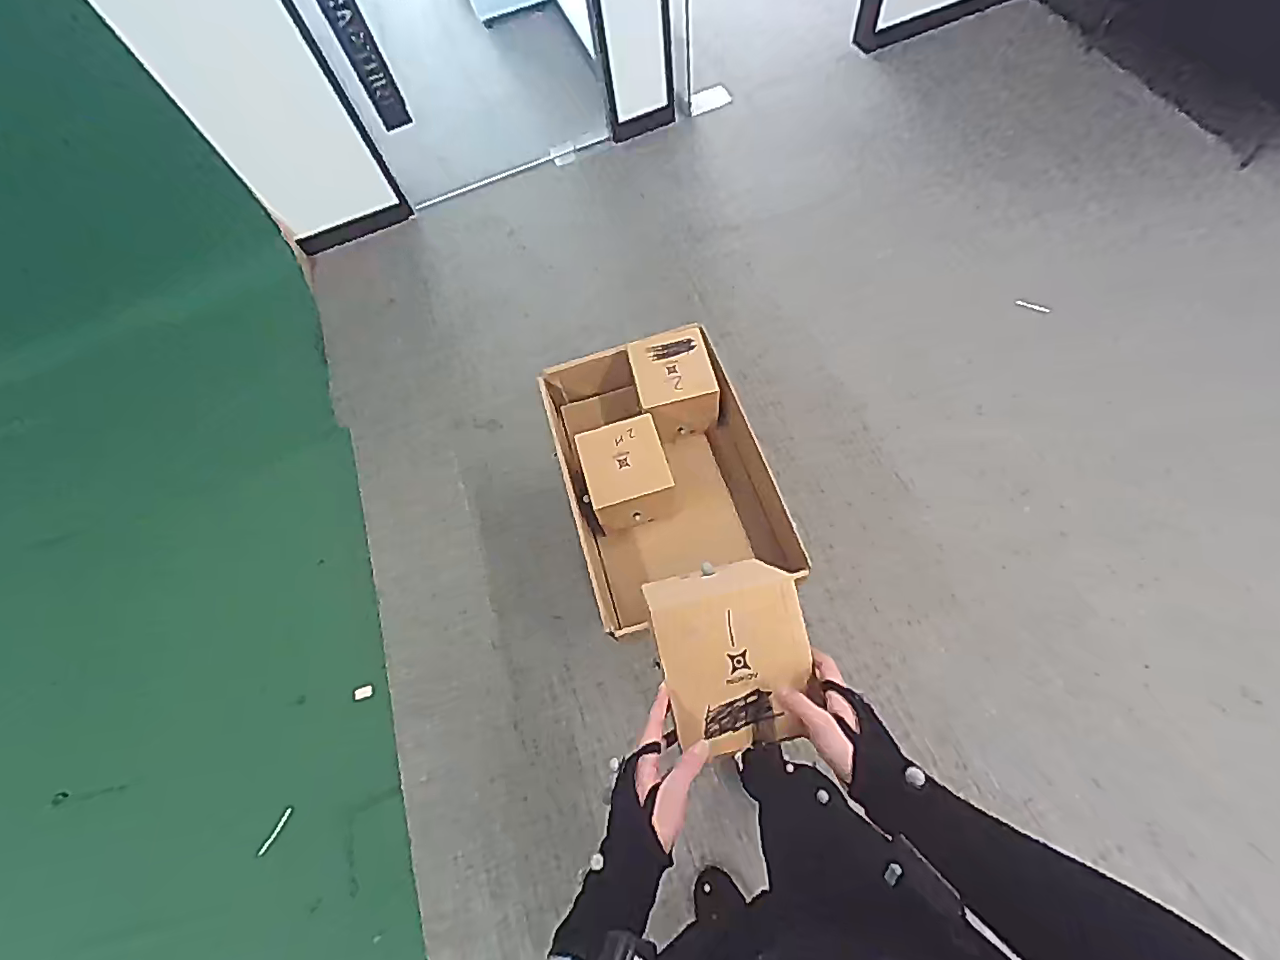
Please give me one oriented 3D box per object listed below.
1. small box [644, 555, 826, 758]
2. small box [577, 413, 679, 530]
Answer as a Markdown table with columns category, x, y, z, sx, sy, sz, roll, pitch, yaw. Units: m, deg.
| category | x | y | z | sx | sy | sz | roll | pitch | yaw |
| --- | --- | --- | --- | --- | --- | --- | --- | --- | --- |
| small box | 0.103 | 0.201 | 0.664 | 0.168 | 0.176 | 0.179 | -13 | 89 | -3 |
| small box | -0.020 | -0.007 | 1.133 | 0.168 | 0.176 | 0.179 | -16 | 65 | -1 |
